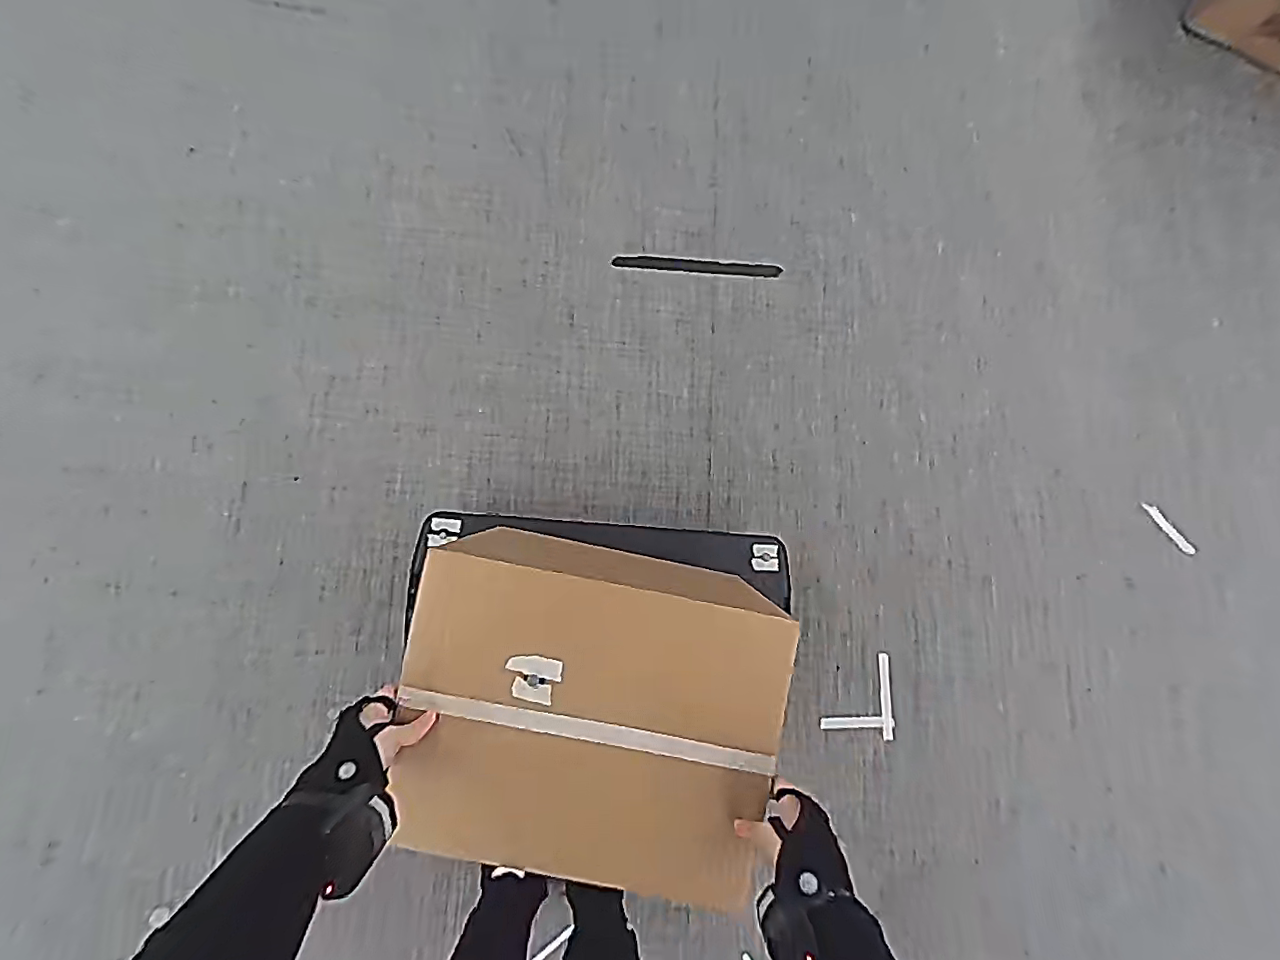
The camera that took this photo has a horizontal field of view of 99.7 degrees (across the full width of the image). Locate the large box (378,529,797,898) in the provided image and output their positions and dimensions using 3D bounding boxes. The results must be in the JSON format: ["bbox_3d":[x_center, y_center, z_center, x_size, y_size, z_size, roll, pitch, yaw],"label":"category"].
[{"bbox_3d":[-0.052,0.258,0.716,0.408,0.320,0.320,11,87,0],"label":"large box"}]

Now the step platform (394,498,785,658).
[{"bbox_3d":[-0.081,0.224,1.008,0.684,0.204,0.286,9,81,-2],"label":"step platform"}]
